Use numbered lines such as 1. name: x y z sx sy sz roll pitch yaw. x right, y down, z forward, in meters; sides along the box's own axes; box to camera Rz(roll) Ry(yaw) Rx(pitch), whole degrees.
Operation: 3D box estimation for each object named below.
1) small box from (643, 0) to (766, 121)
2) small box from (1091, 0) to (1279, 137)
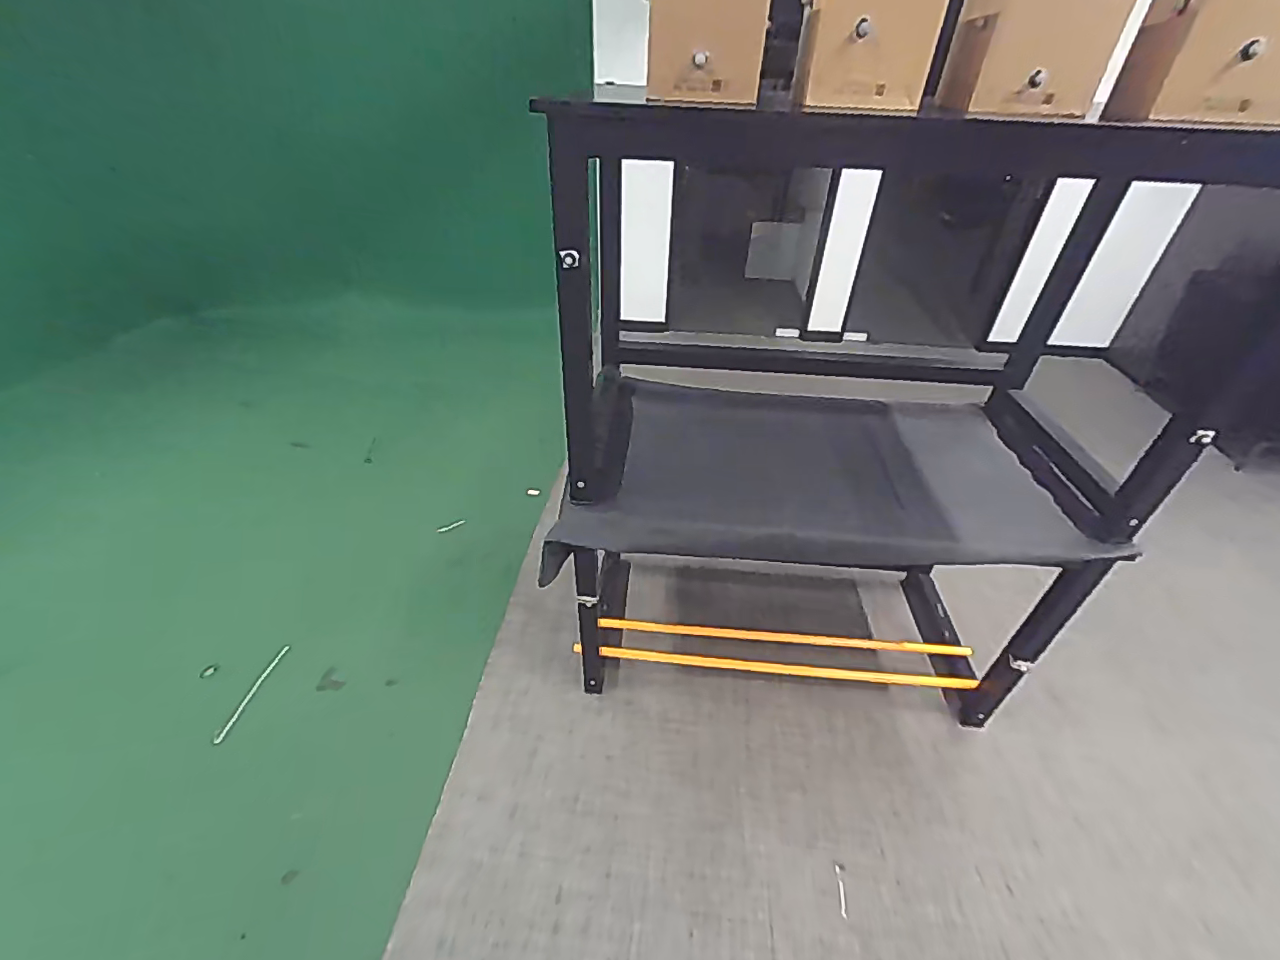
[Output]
1. small box: 0.093 -0.668 0.835 0.168 0.176 0.179 3 38 1
2. small box: 0.811 -0.603 0.782 0.168 0.176 0.179 11 38 12
